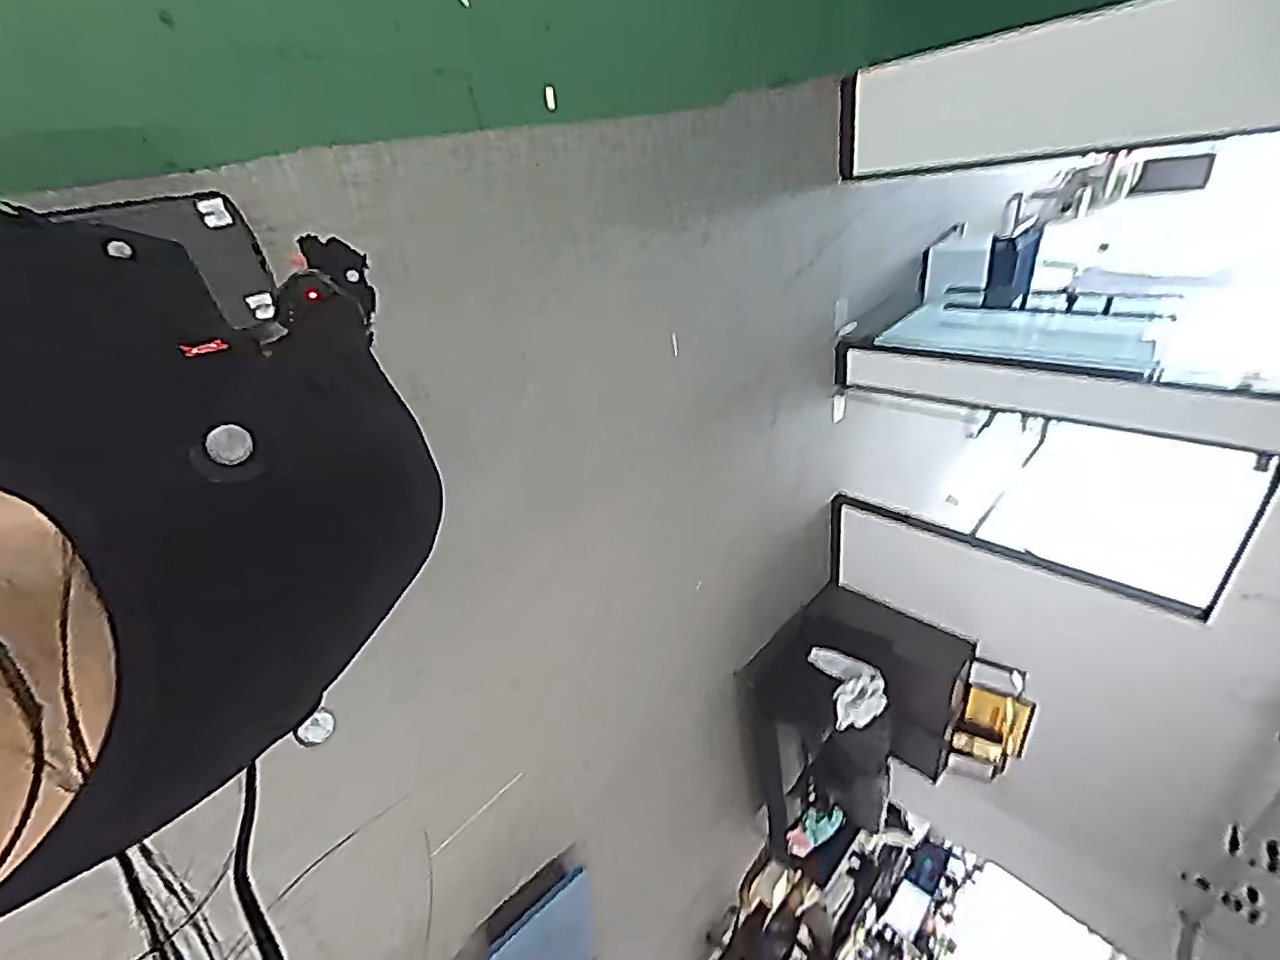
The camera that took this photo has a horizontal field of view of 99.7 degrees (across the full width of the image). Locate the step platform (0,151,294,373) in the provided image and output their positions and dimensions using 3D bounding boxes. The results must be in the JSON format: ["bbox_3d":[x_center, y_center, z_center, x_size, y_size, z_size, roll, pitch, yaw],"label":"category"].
[{"bbox_3d":[-1.009,-0.350,0.916,0.684,0.204,0.286,-32,128,-32],"label":"step platform"}]
